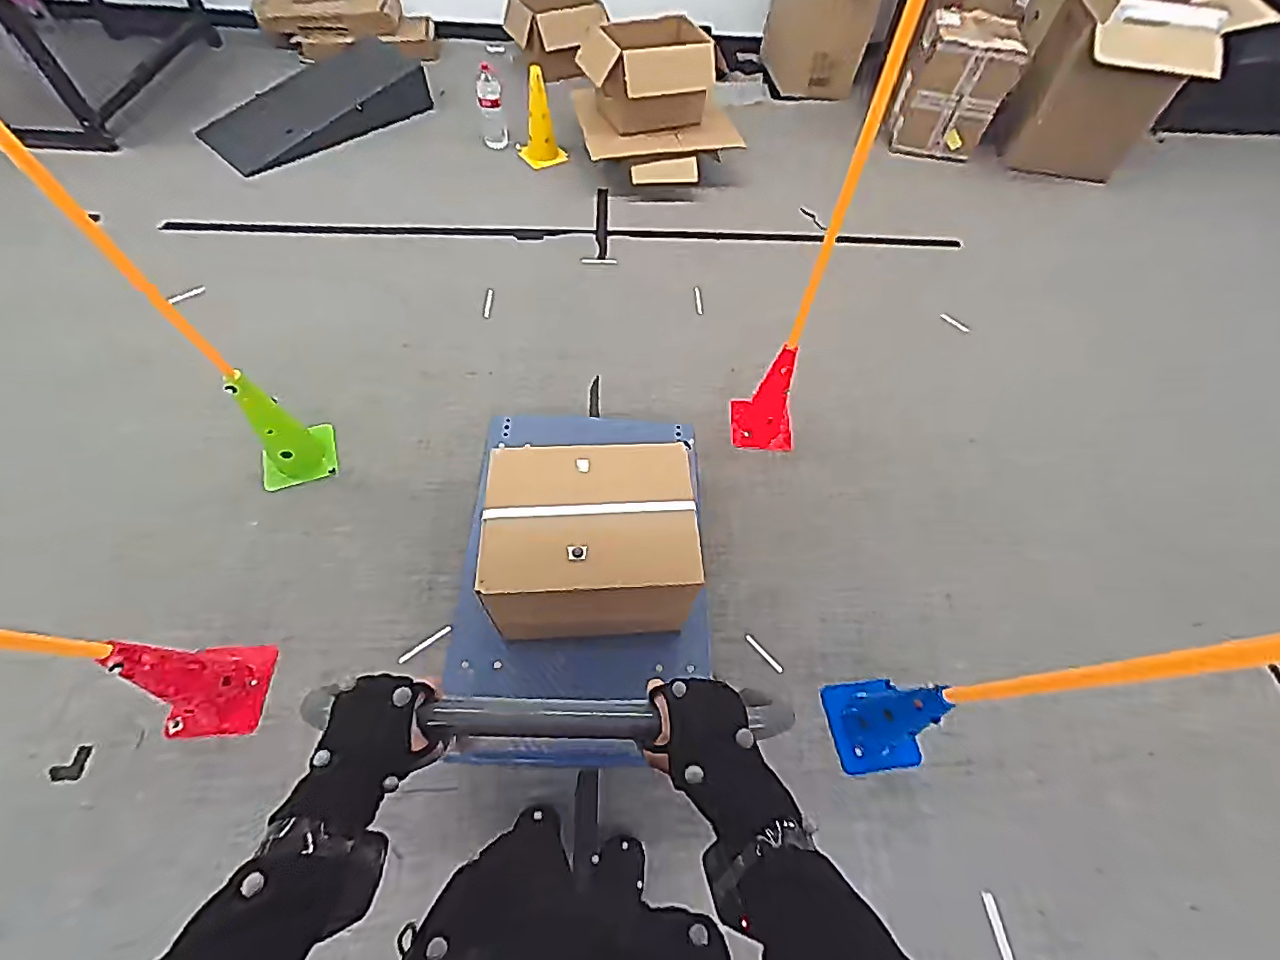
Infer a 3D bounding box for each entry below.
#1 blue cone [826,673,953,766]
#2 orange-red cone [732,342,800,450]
[{"bbox_3d":[0.573,0.496,1.180,0.193,0.380,0.192,-3,57,-6],"label":"blue cone"},{"bbox_3d":[0.414,-0.277,1.636,0.199,0.360,0.198,6,58,-1],"label":"orange-red cone"}]
